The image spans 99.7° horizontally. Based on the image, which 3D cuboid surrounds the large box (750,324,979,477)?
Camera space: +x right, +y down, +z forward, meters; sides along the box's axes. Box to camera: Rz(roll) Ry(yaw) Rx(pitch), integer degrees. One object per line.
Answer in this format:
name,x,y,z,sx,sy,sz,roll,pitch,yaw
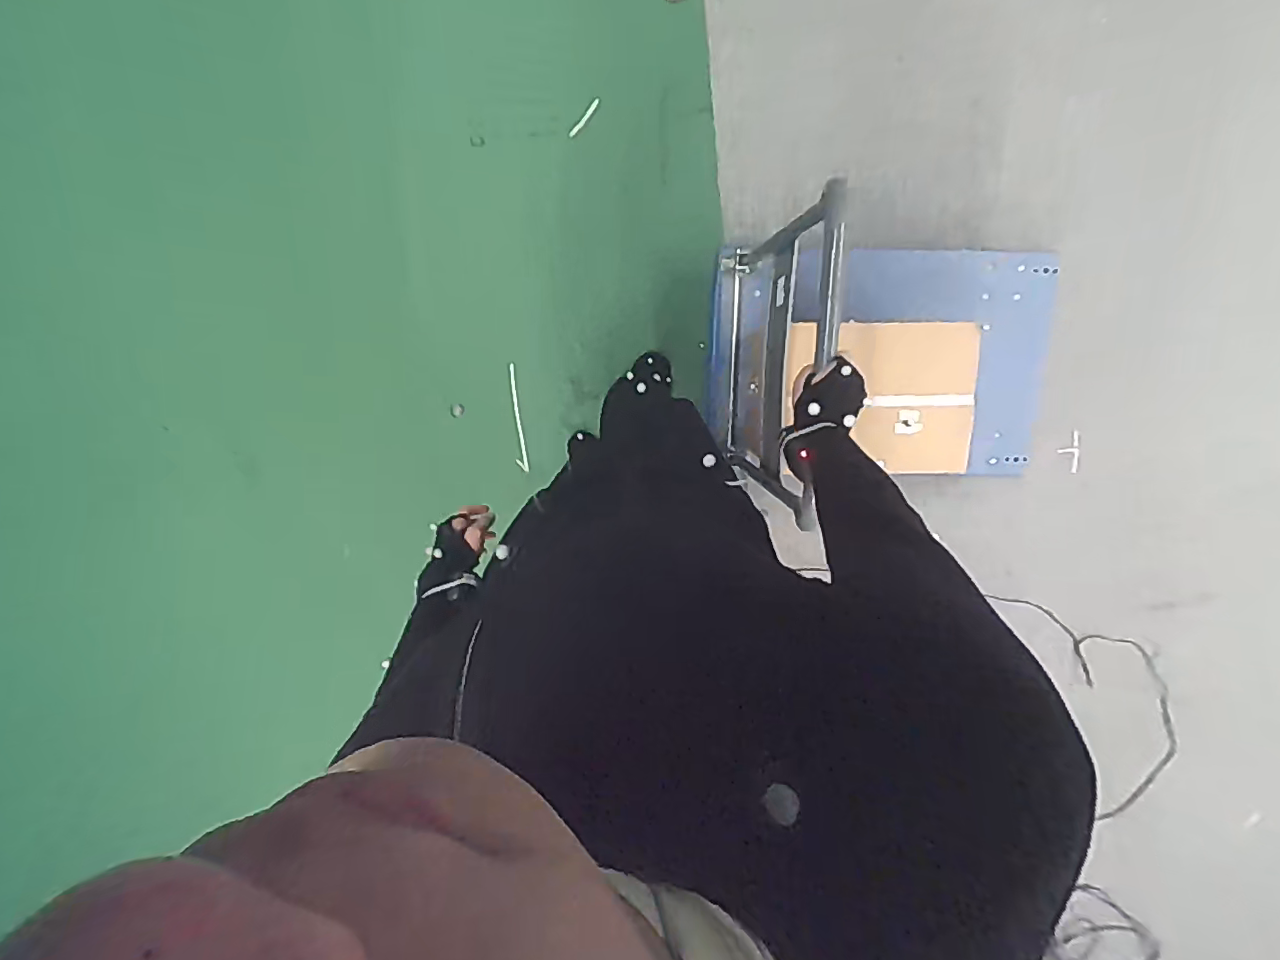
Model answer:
large box,0.488,-0.189,1.264,0.408,0.320,0.320,-1,102,-2
